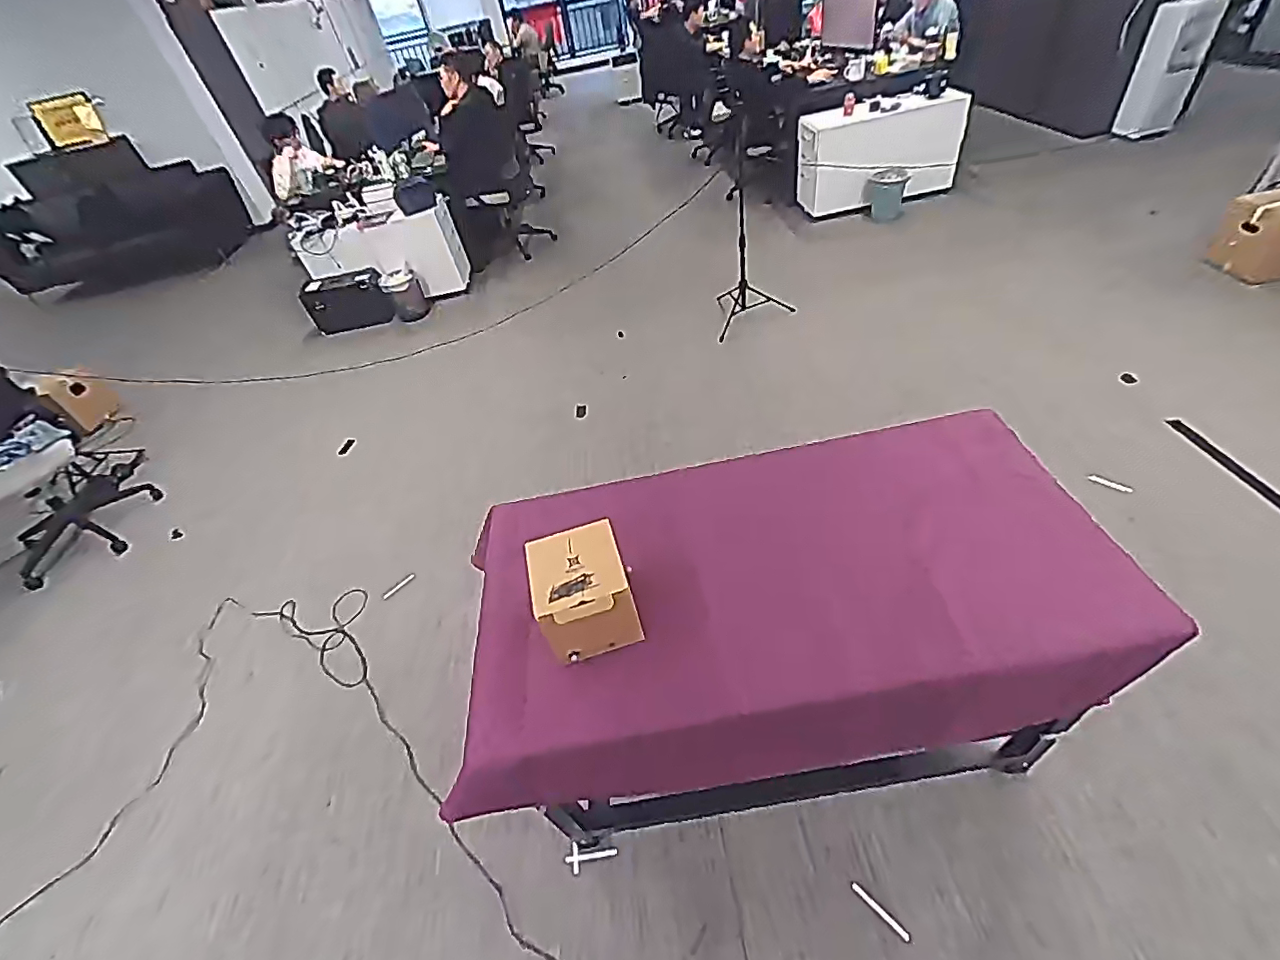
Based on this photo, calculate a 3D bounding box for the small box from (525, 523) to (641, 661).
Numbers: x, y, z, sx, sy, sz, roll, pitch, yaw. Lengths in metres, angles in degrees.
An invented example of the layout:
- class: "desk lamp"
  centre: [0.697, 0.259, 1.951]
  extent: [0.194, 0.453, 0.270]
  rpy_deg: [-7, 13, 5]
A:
- class: "small box"
  centre: [-0.105, 0.216, 1.013]
  extent: [0.168, 0.176, 0.179]
  rpy_deg: [-17, 43, -4]
